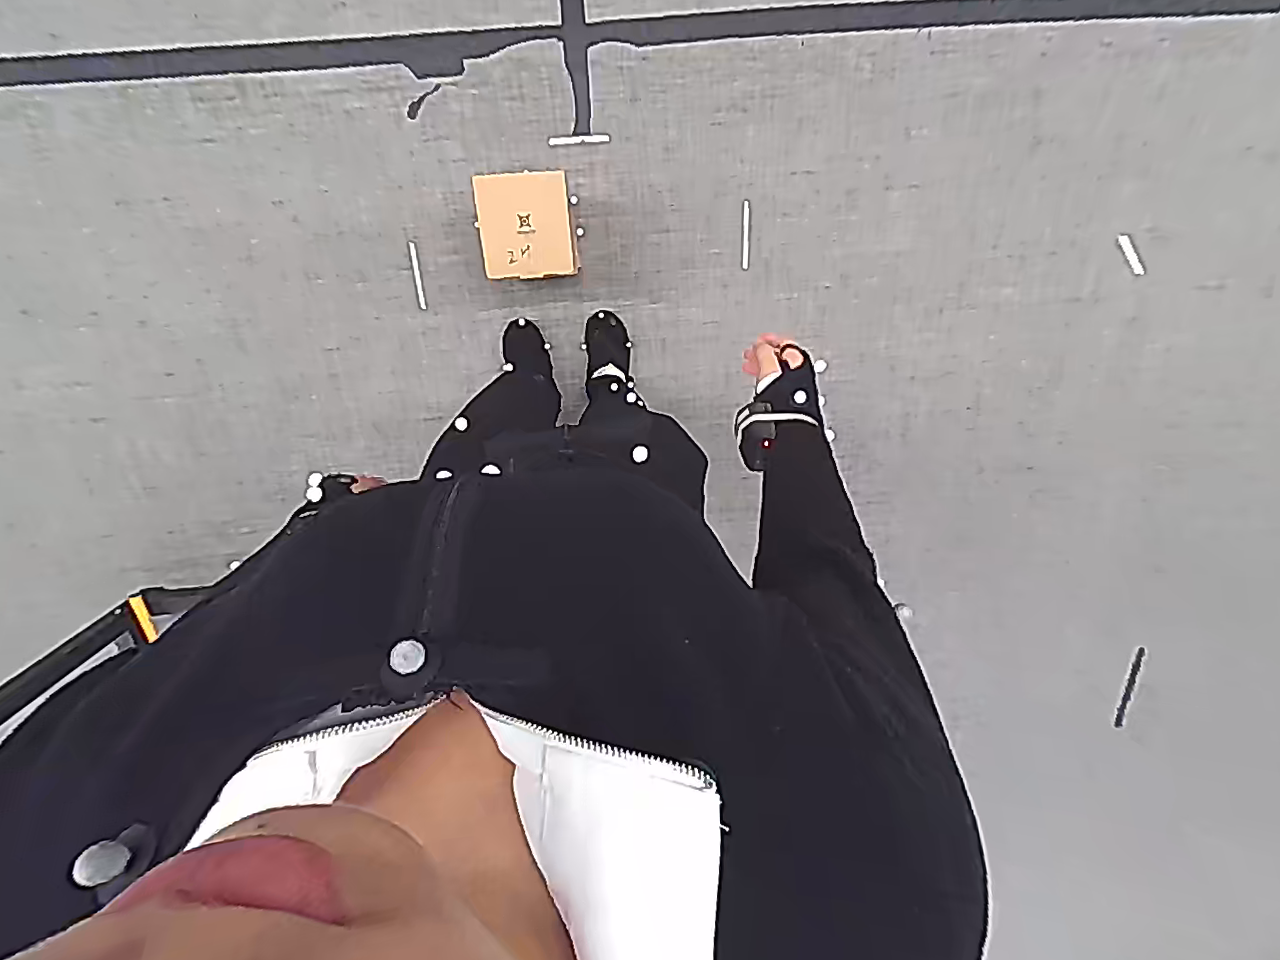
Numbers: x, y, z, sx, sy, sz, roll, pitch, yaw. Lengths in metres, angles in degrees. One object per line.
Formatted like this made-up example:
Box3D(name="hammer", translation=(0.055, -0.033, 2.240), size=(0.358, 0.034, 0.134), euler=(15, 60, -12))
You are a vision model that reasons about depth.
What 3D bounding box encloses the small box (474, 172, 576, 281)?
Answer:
Box3D(name="small box", translation=(-0.214, -0.485, 1.053), size=(0.168, 0.176, 0.179), euler=(-4, 112, -2))
